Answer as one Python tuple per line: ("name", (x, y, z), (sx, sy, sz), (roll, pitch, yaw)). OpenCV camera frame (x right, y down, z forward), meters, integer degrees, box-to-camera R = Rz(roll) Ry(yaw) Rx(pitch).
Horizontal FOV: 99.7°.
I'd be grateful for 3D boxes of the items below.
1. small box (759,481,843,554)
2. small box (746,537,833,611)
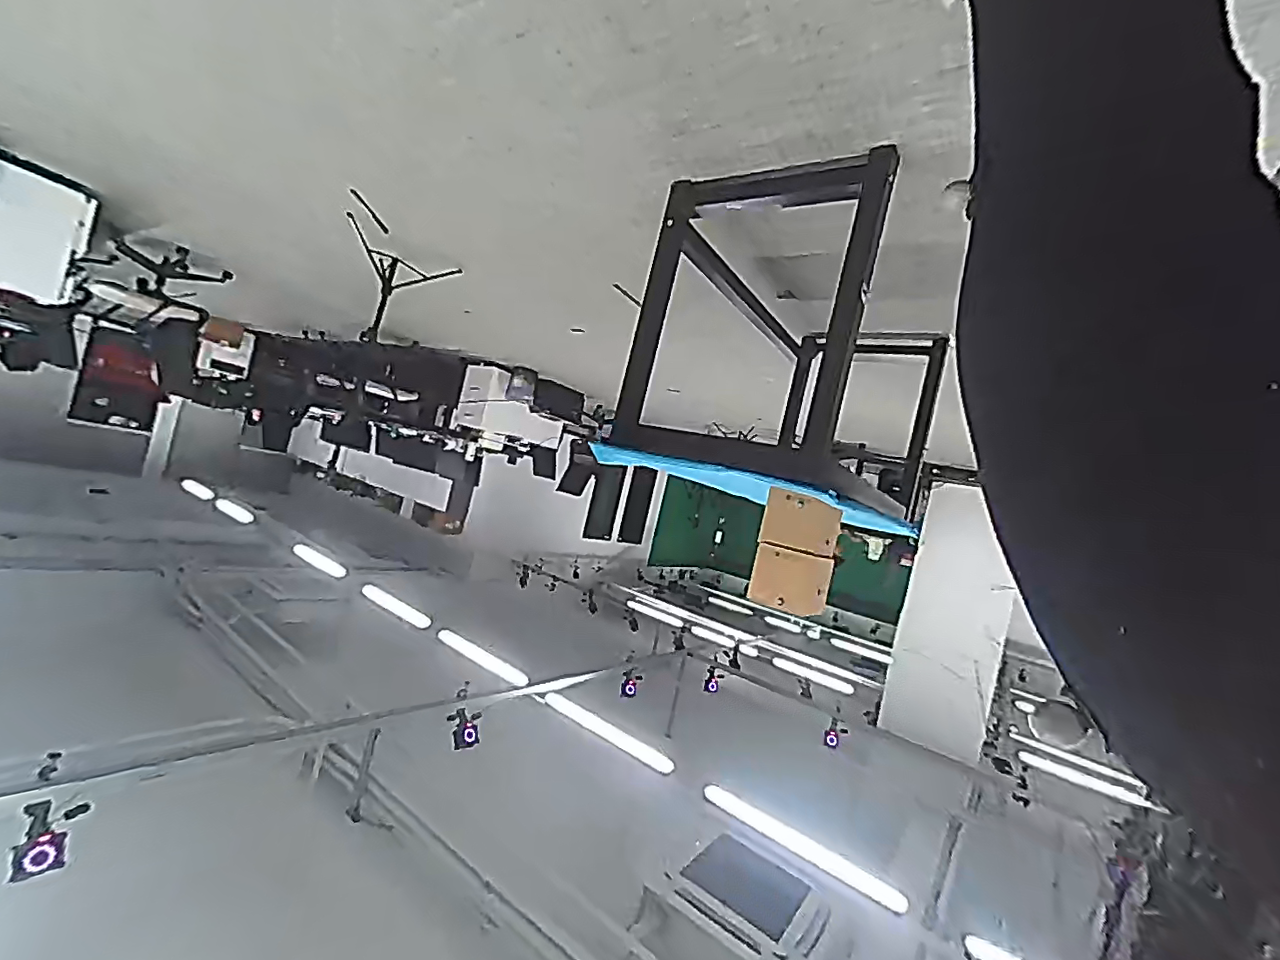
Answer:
("small box", (0.469, 0.107, 1.558), (0.168, 0.176, 0.179), (12, 179, 36))
("small box", (0.432, 0.265, 1.545), (0.168, 0.176, 0.179), (13, 178, 40))
